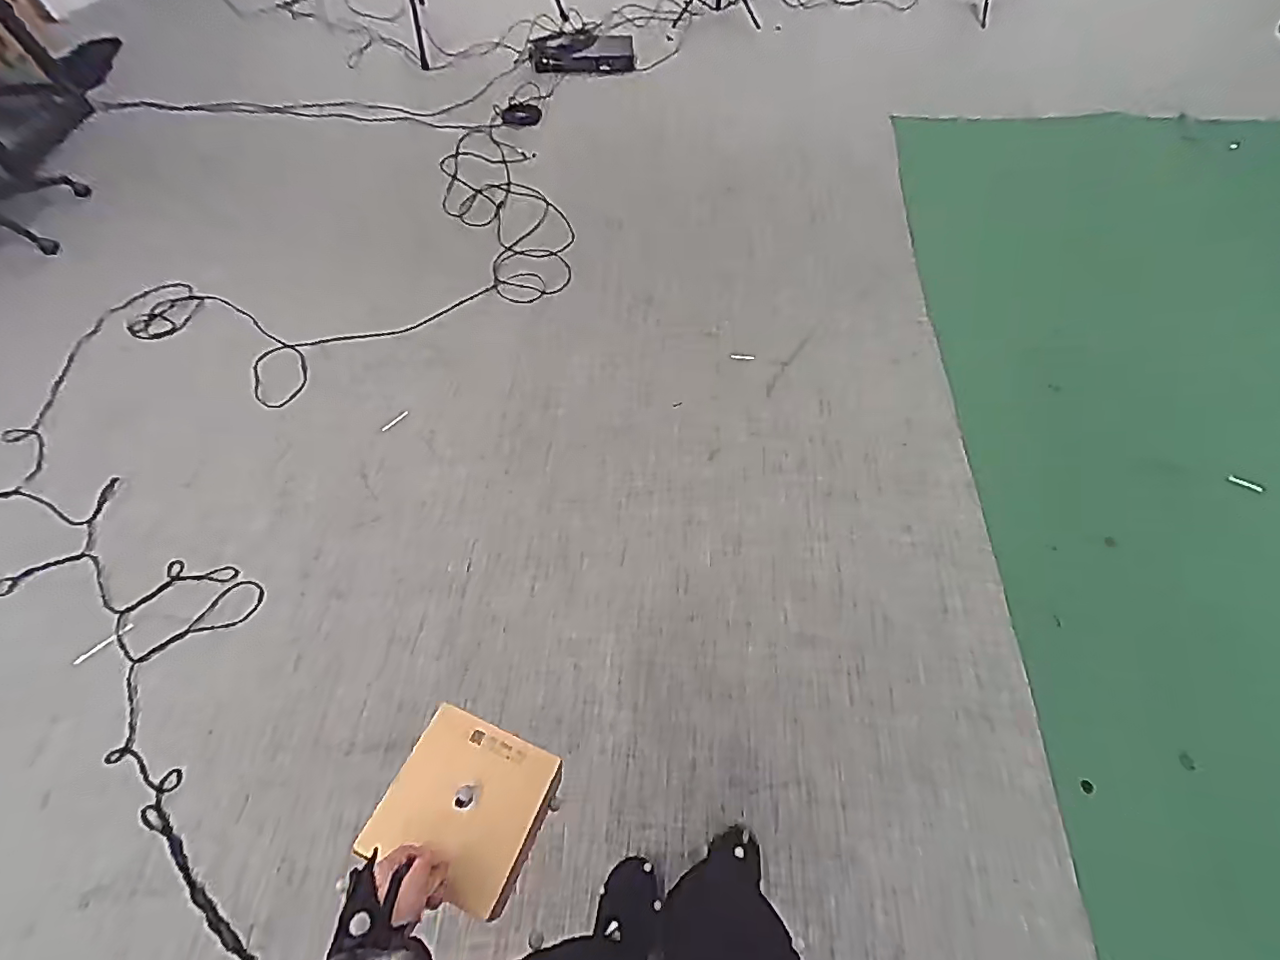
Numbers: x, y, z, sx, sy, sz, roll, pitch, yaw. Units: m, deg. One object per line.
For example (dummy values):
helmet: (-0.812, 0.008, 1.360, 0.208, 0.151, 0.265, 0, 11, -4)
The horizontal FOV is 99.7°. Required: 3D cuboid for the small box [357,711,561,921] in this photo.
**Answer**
small box: (-0.208, 0.414, 0.676, 0.168, 0.179, 0.176, 21, 52, 7)
